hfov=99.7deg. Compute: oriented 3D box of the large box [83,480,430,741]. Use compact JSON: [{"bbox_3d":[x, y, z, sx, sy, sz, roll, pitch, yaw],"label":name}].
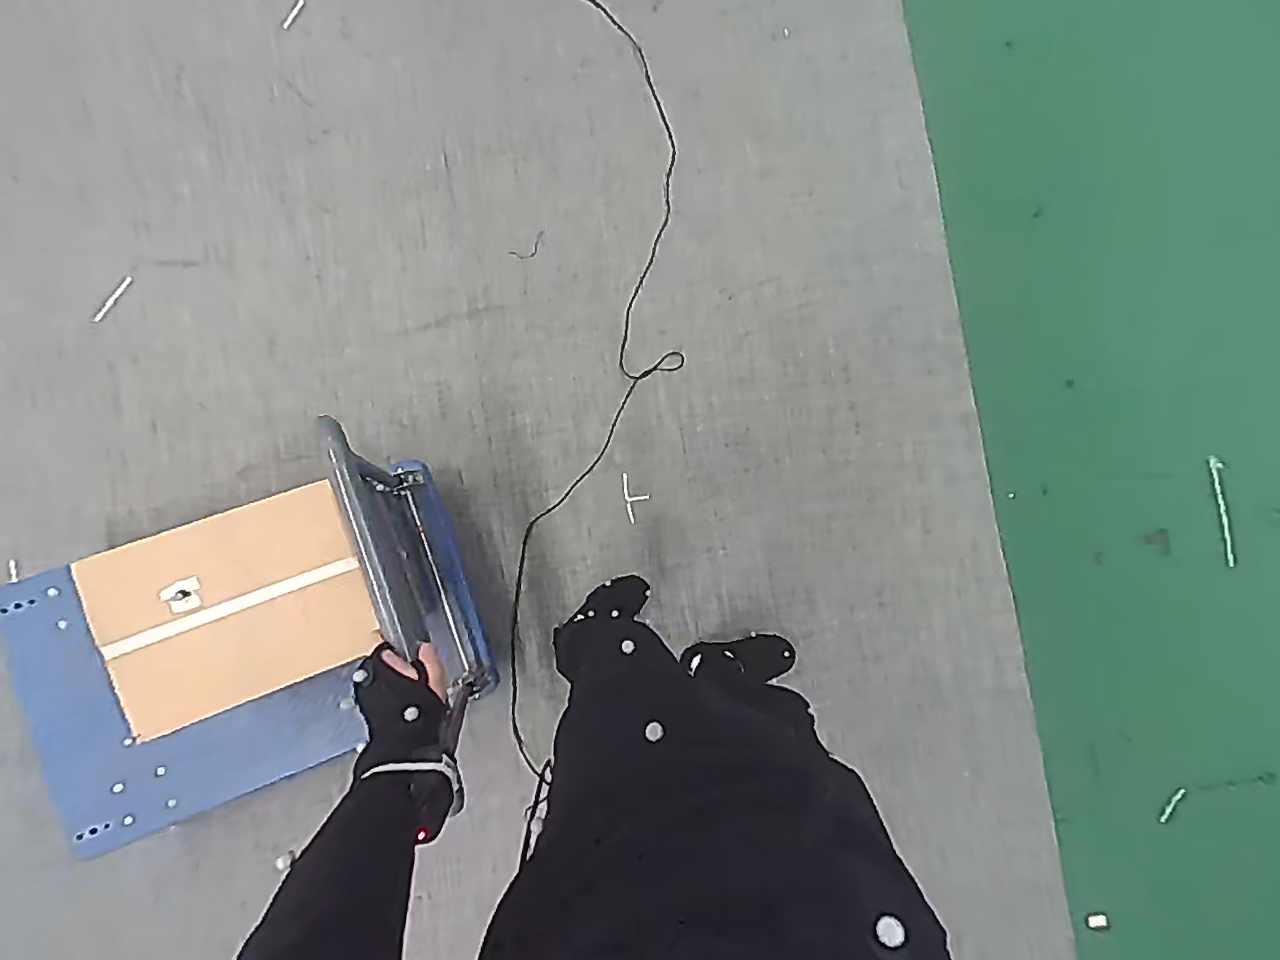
[{"bbox_3d":[-0.684,0.217,1.046,0.408,0.320,0.320,-20,89,-11],"label":"large box"}]
